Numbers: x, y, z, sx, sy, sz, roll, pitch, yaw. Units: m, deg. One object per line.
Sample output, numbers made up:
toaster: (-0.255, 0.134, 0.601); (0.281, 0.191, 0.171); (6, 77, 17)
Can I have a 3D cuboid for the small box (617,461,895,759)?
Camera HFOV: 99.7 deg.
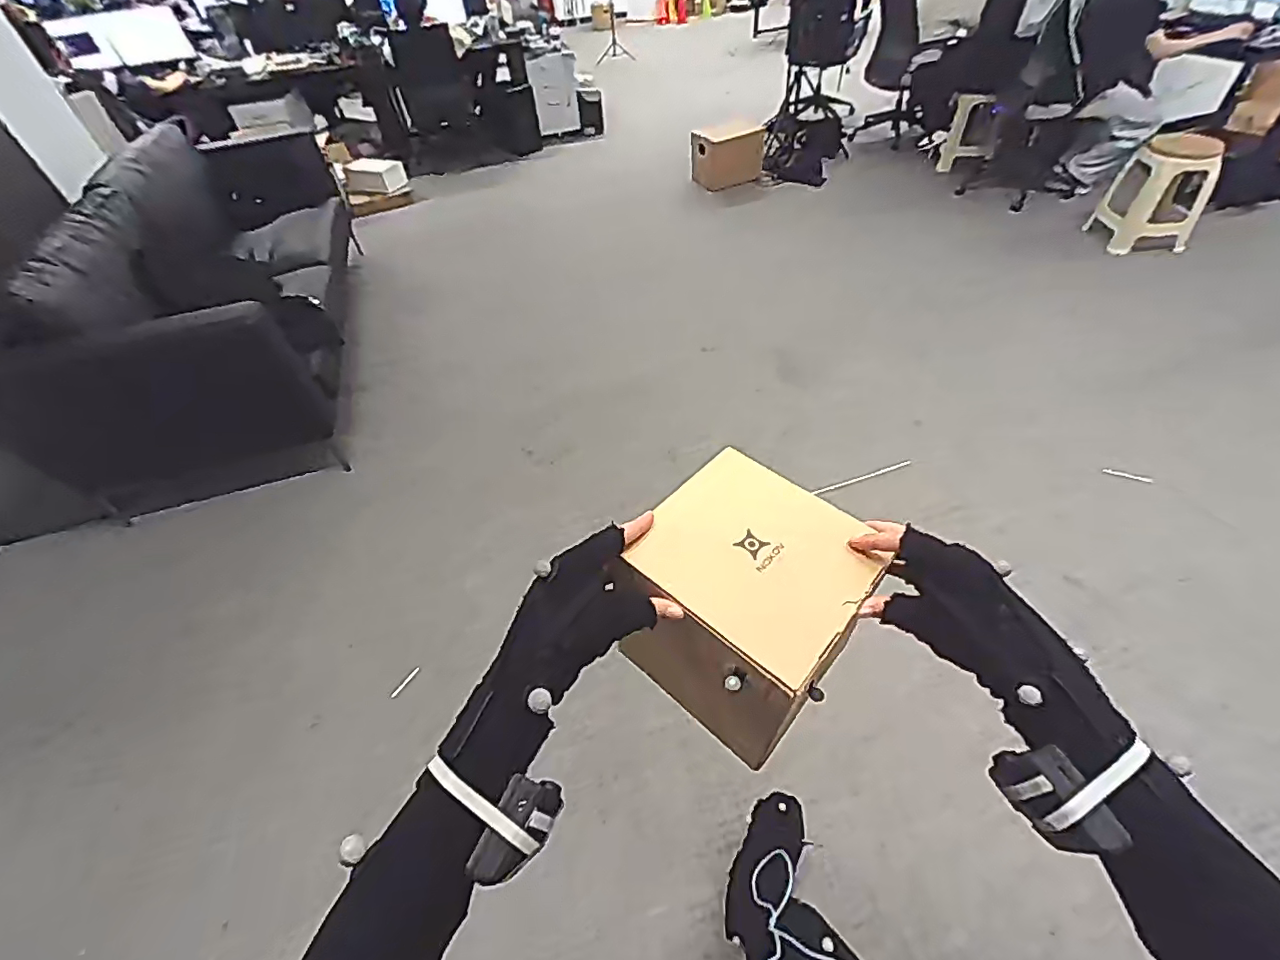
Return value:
small box: (0.094, 0.119, 0.504); (0.179, 0.176, 0.168); (34, 54, 27)
